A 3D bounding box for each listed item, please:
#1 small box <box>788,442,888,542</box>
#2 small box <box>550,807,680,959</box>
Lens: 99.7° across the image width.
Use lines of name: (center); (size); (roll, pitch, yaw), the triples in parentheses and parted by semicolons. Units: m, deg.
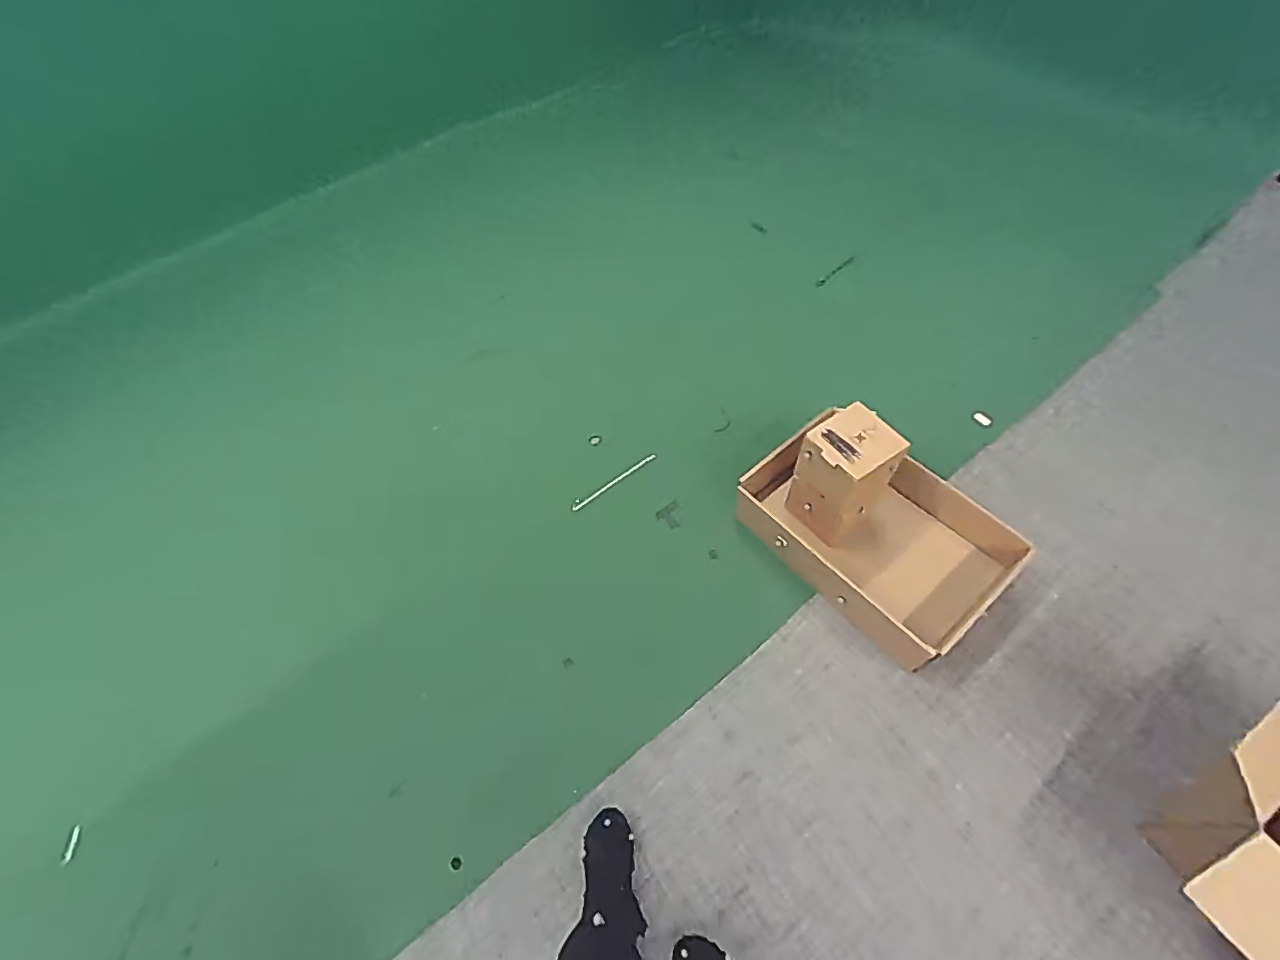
small box: (0.525, 0.037, 1.464); (0.168, 0.176, 0.179); (-36, 61, -17)
small box: (-0.043, 0.803, 1.081); (0.179, 0.168, 0.176); (-32, 88, -38)
